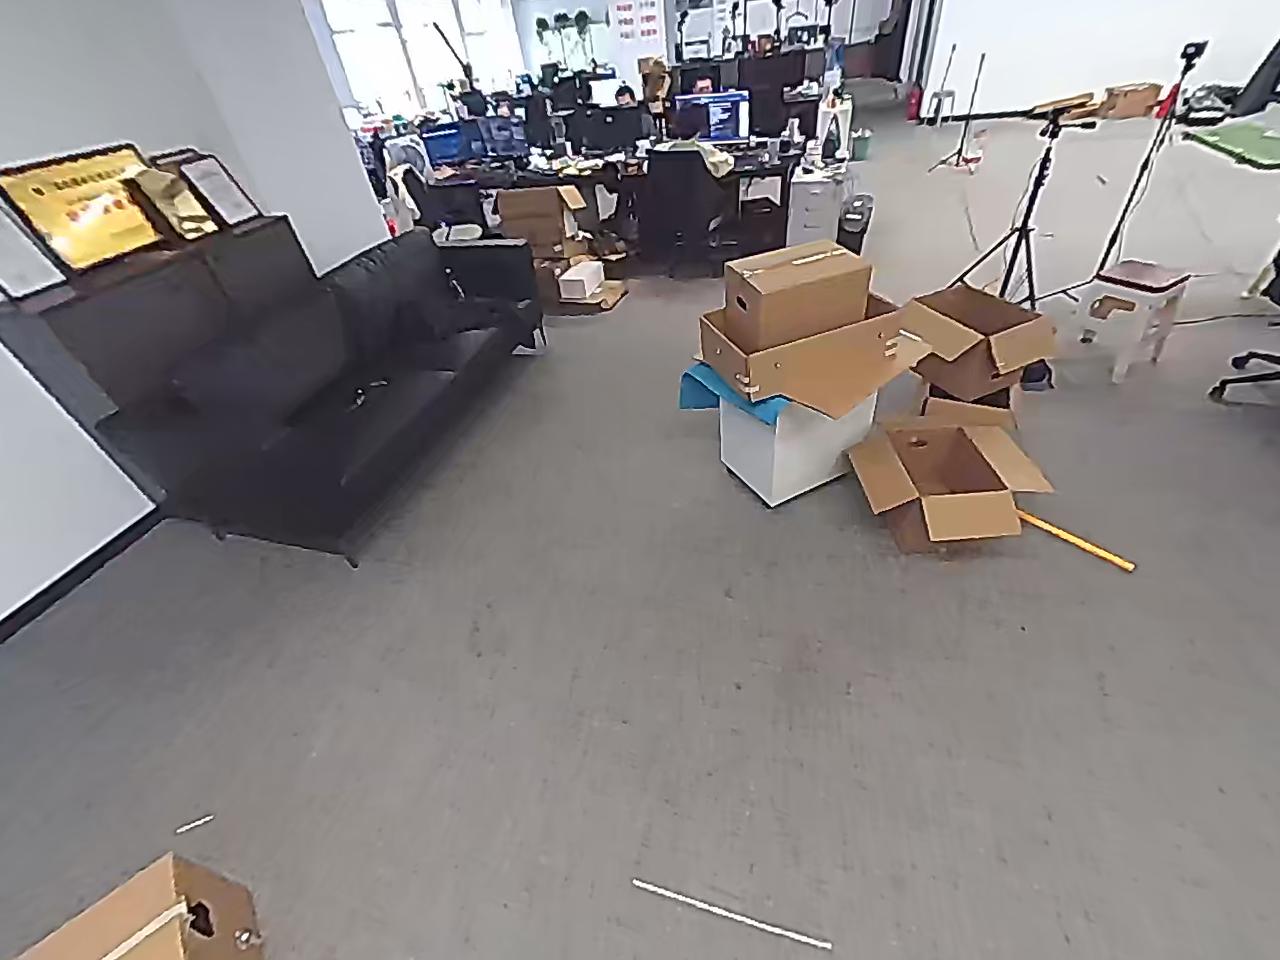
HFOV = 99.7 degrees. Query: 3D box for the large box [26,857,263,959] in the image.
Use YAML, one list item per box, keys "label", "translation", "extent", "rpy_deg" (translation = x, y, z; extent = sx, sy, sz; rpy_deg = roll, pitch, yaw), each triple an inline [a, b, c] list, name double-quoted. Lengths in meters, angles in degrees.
- label: "large box"
  translation: [-1.123, 1.151, 1.179]
  extent: [0.408, 0.320, 0.320]
  rpy_deg: [-34, 45, -26]
